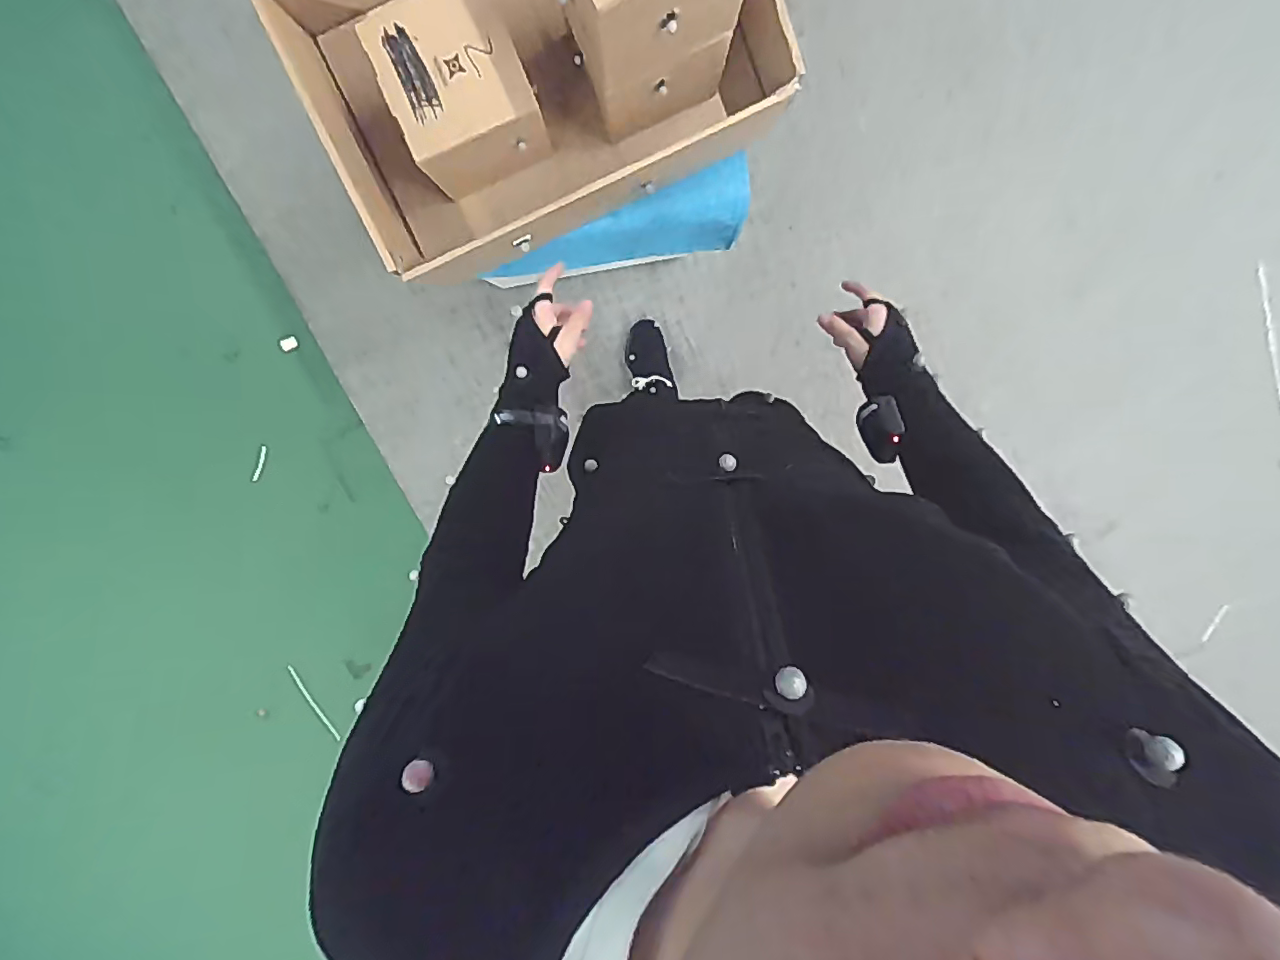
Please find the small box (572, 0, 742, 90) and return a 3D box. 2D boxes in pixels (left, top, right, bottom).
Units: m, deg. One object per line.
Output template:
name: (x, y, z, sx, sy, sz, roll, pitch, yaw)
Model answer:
small box: (0.009, -0.564, 0.567, 0.179, 0.176, 0.168, -23, 101, 6)
